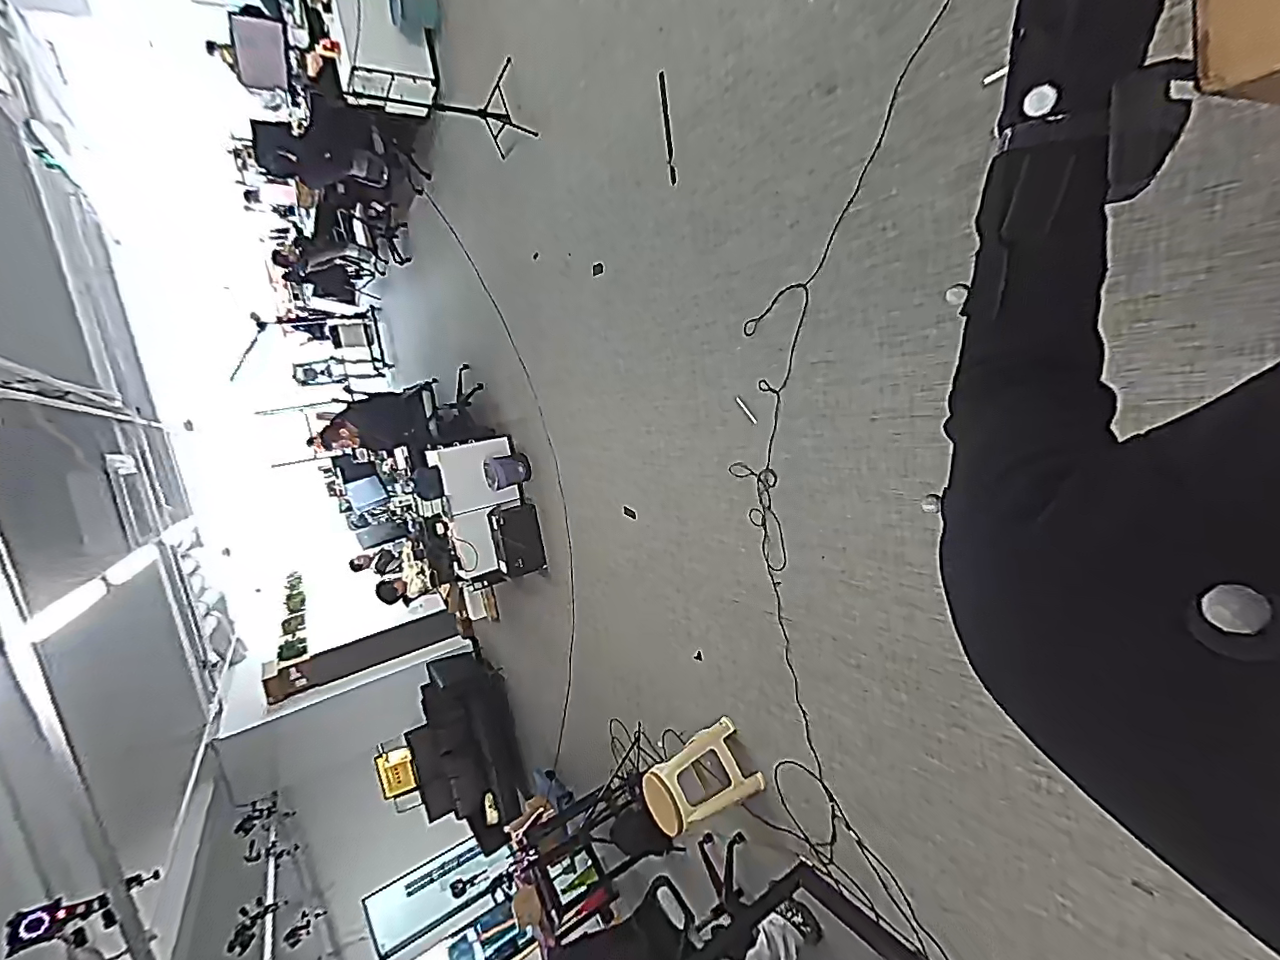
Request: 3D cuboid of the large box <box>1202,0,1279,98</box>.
[{"bbox_3d":[0.509,-0.407,0.190,0.408,0.320,0.320,4,114,55],"label":"large box"}]
